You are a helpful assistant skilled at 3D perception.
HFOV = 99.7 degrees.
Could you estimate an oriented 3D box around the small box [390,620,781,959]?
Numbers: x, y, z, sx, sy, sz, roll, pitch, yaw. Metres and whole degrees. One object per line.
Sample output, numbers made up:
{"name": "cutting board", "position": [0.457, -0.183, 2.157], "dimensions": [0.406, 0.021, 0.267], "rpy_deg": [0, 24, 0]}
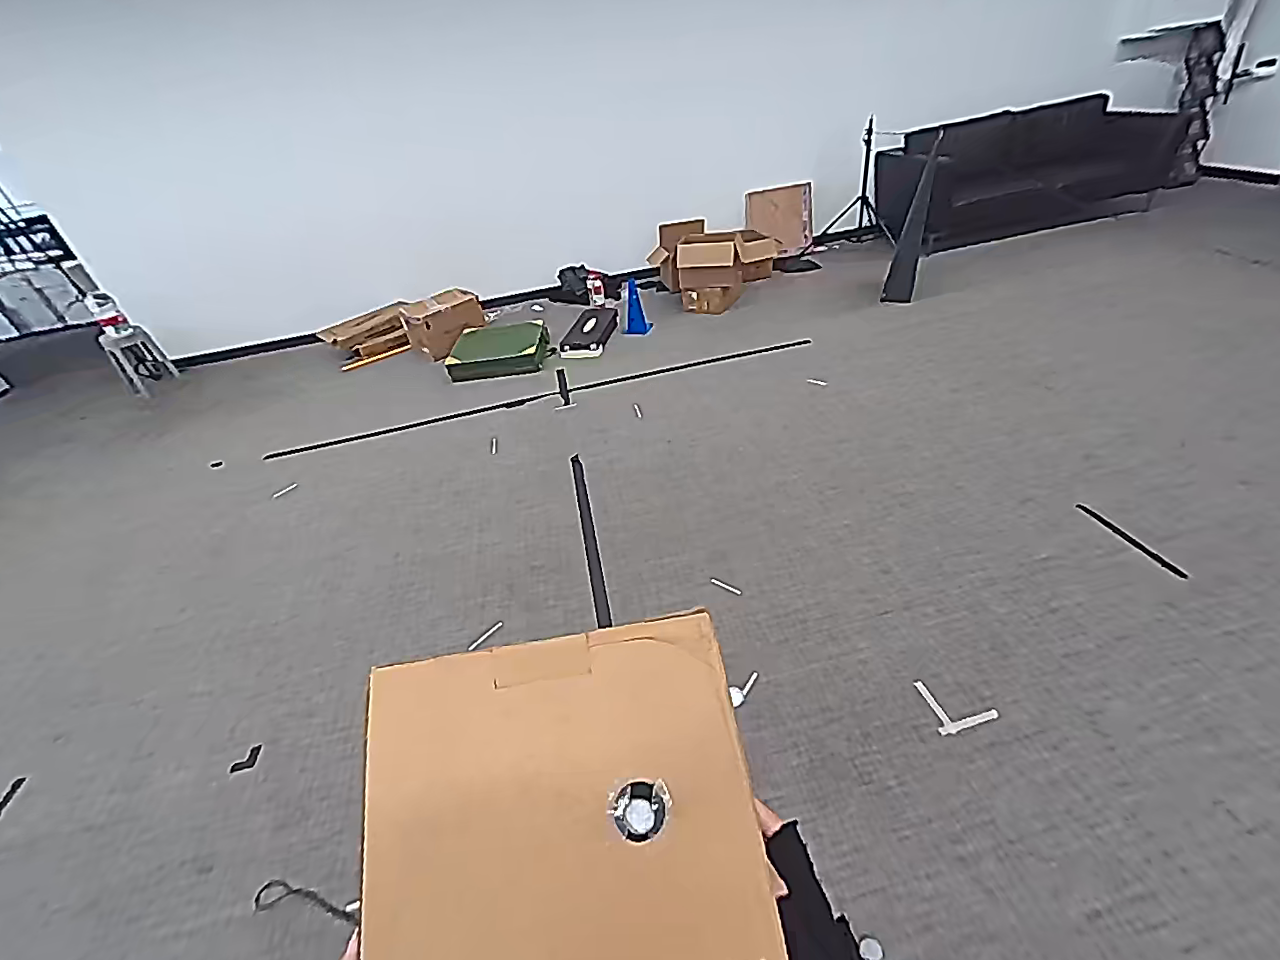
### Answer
{"name": "small box", "position": [-0.025, 0.191, 0.317], "dimensions": [0.168, 0.179, 0.176], "rpy_deg": [-10, 67, 0]}
